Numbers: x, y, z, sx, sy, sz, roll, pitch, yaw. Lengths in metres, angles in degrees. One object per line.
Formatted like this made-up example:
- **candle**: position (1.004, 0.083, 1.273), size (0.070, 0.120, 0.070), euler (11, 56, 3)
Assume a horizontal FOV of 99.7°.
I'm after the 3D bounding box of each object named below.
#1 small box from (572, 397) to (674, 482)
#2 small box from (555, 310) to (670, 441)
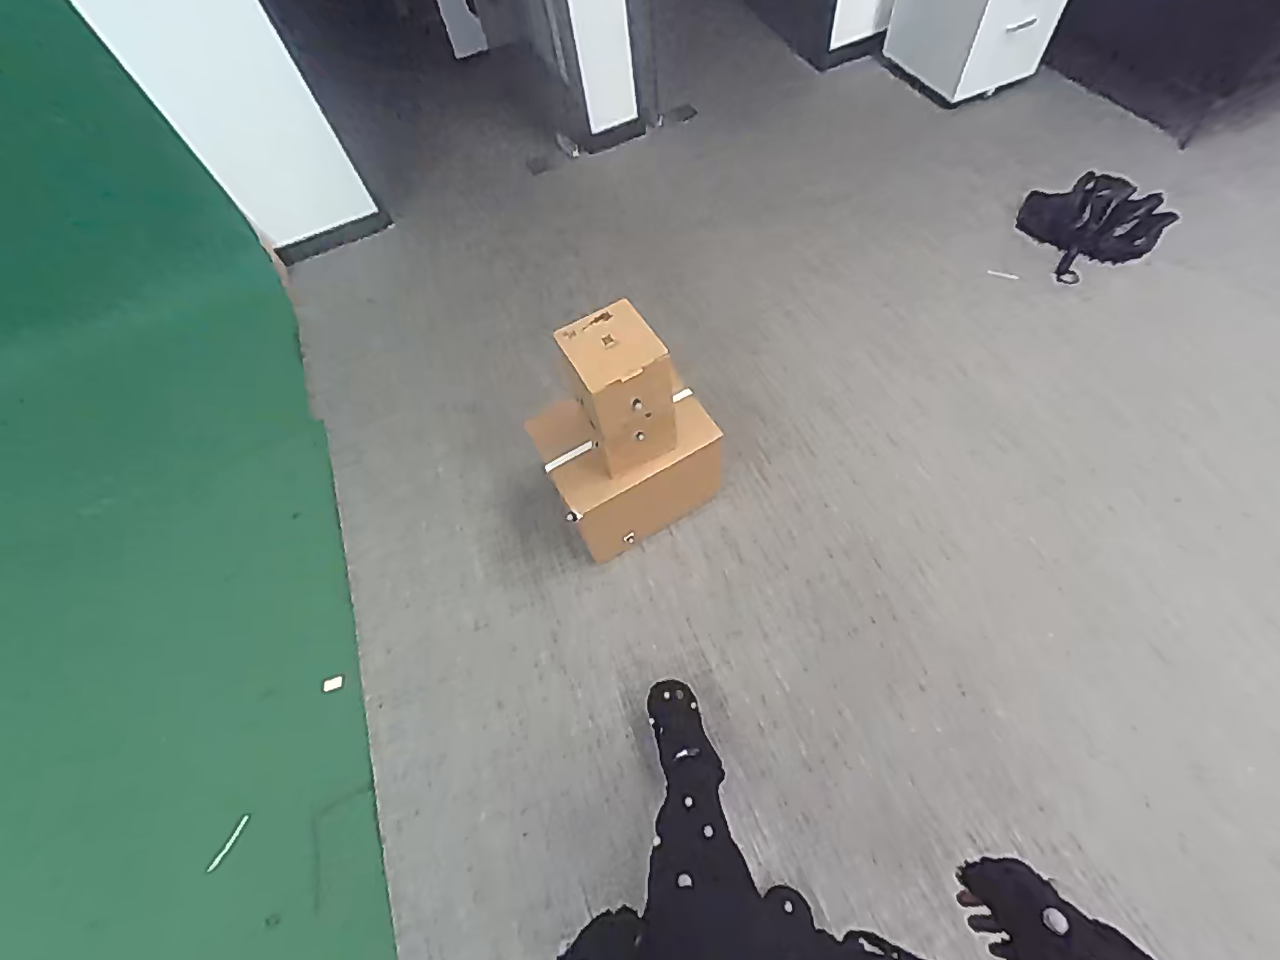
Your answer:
- **small box**: position (-0.032, -0.124, 1.239), size (0.179, 0.176, 0.168), euler (-27, 62, -10)
- **small box**: position (-0.048, -0.201, 1.096), size (0.168, 0.176, 0.179), euler (-28, 63, -9)
